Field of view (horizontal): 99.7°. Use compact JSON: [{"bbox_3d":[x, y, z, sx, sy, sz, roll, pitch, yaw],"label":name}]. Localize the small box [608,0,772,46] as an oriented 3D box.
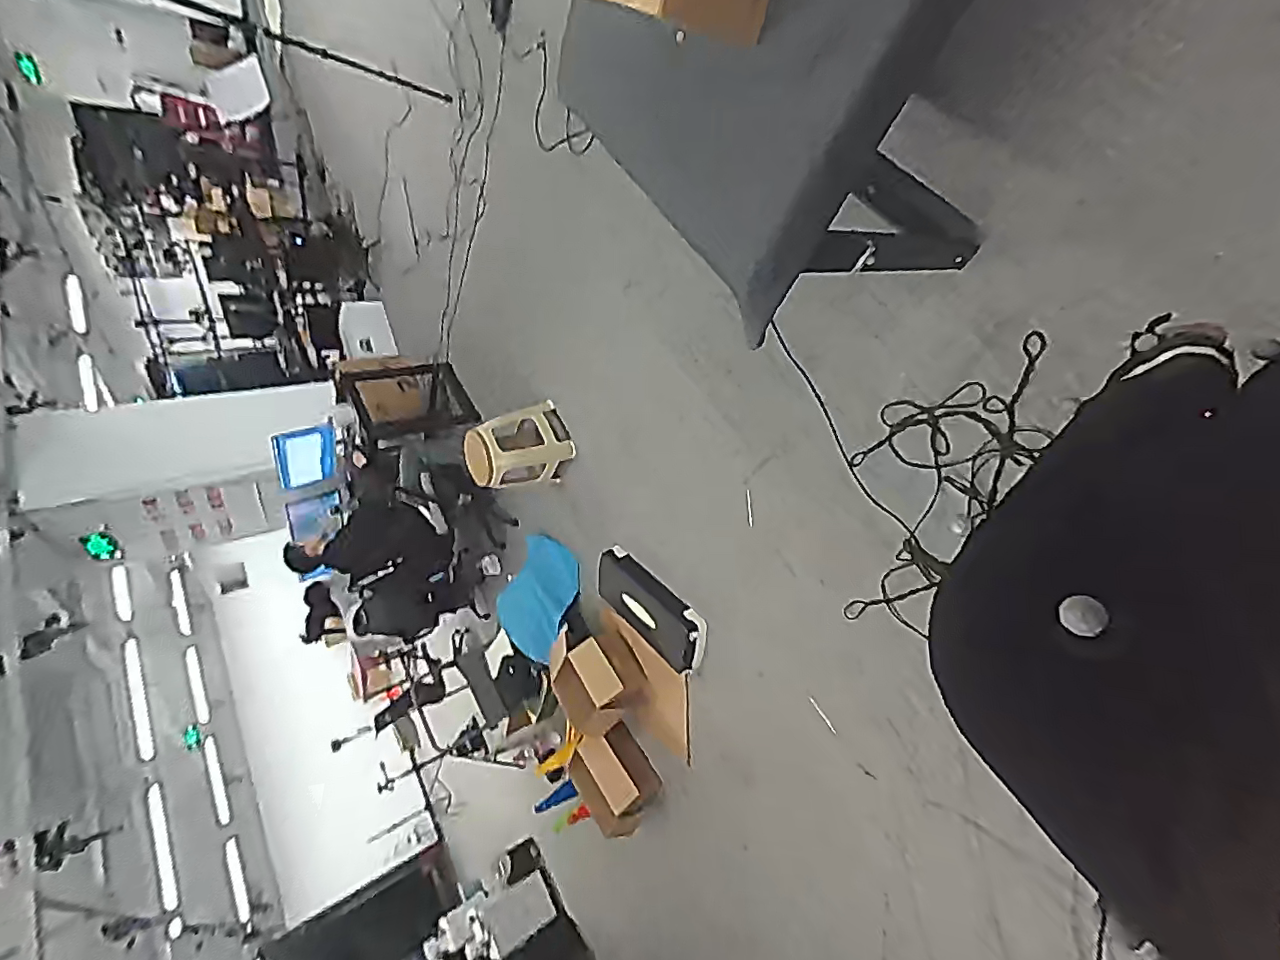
[{"bbox_3d":[0.069,-0.662,0.660,0.179,0.176,0.168,49,137,33],"label":"small box"}]
